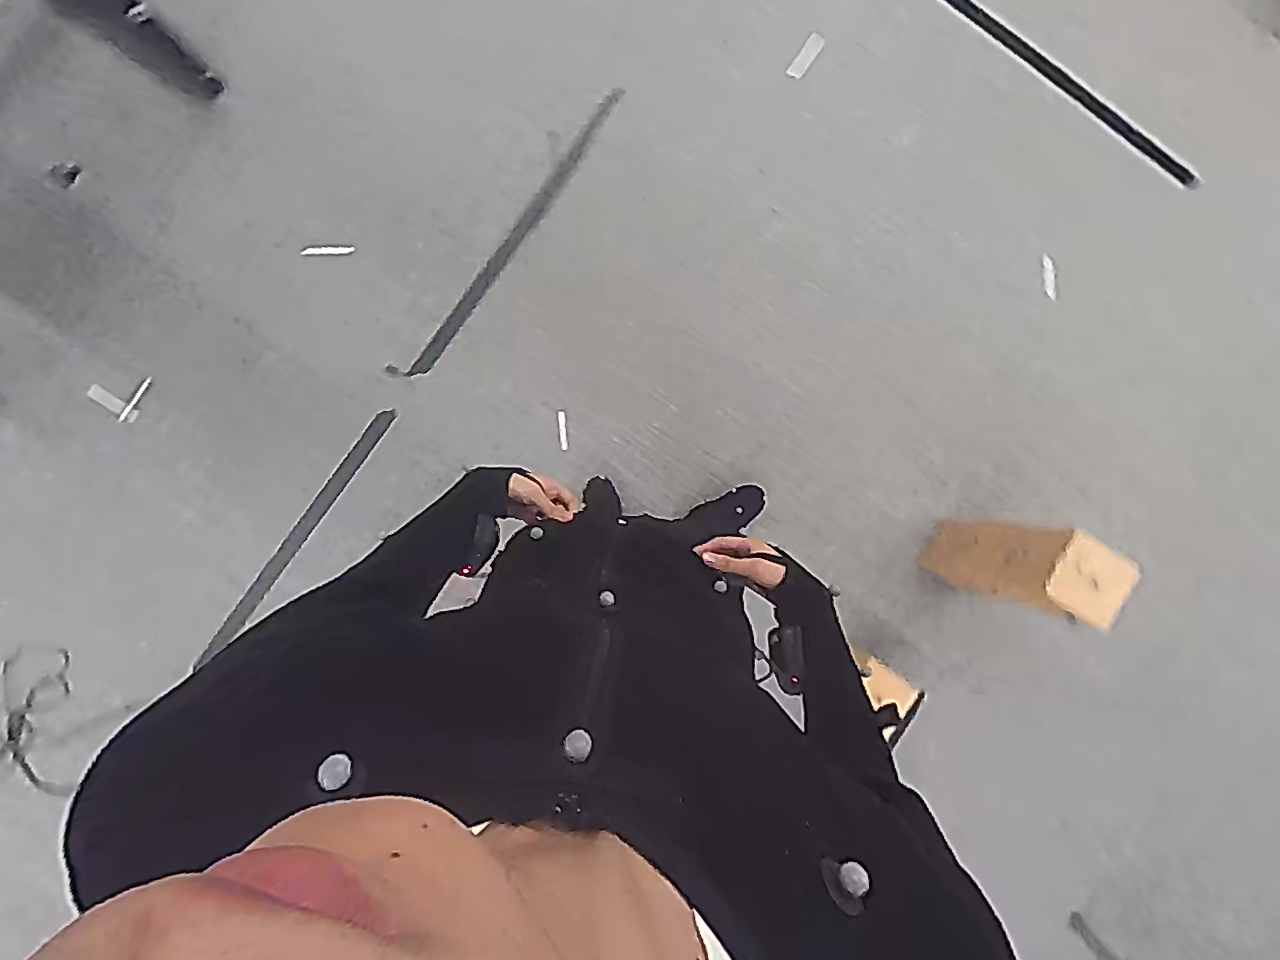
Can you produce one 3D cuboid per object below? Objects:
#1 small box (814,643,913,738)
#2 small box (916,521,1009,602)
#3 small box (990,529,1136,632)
[{"bbox_3d":[0.651,0.609,1.594,0.179,0.176,0.168,37,89,-2],"label":"small box"},{"bbox_3d":[0.973,0.234,1.609,0.179,0.176,0.168,33,88,-3],"label":"small box"},{"bbox_3d":[0.992,0.228,1.281,0.179,0.176,0.168,33,87,-2],"label":"small box"}]
